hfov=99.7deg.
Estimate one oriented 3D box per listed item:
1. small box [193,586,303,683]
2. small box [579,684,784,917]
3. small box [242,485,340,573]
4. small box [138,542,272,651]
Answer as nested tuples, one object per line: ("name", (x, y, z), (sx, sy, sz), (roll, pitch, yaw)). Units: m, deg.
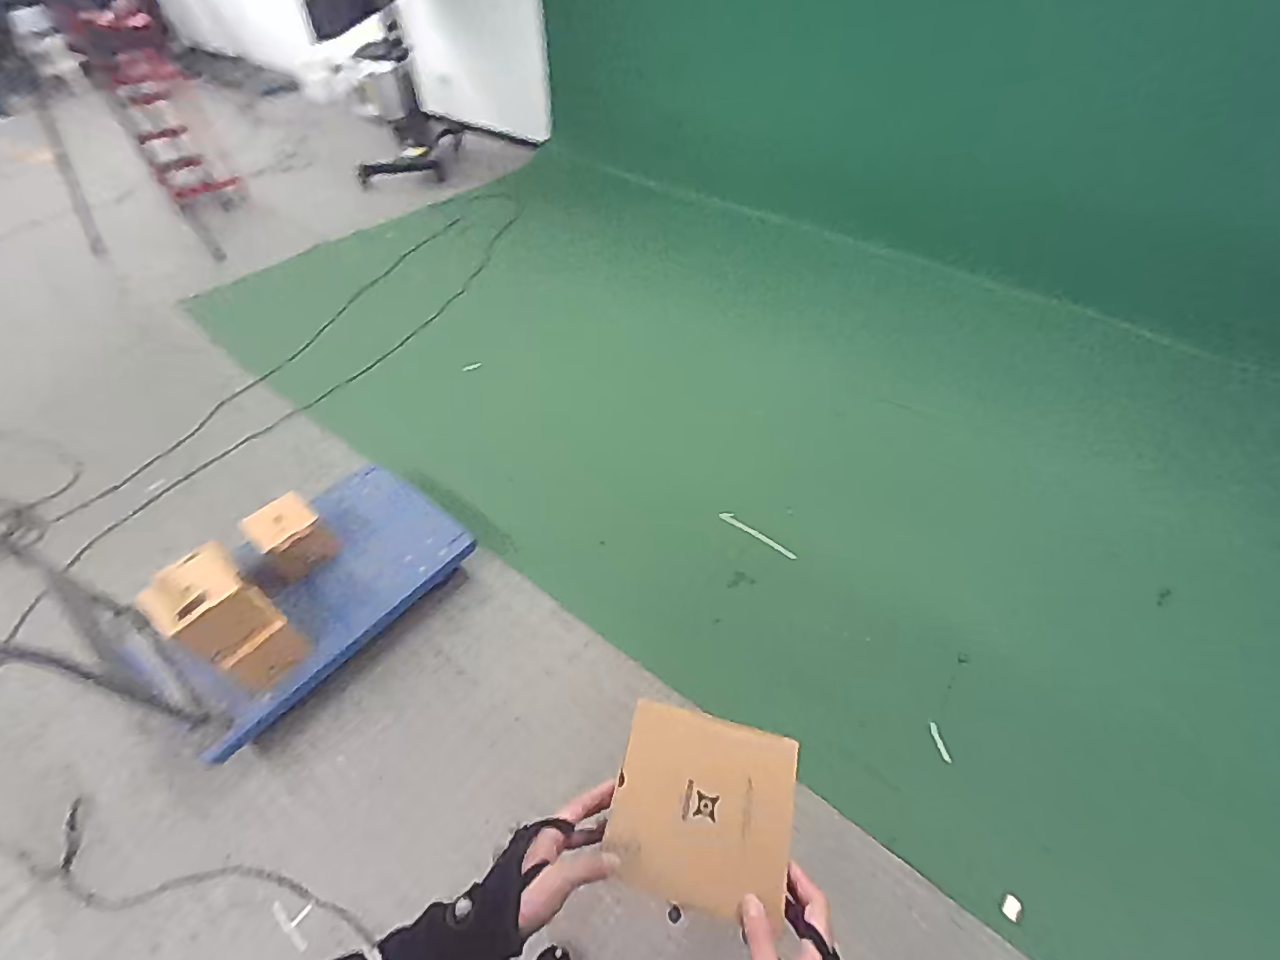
("small box", (-1.036, 0.416, 1.444), (0.179, 0.176, 0.168), (-16, 53, -14))
("small box", (0.045, 0.350, 0.596), (0.179, 0.176, 0.168), (13, 56, 7))
("small box", (-1.067, 0.153, 1.663), (0.179, 0.176, 0.168), (35, 57, 26))
("small box", (-1.053, 0.291, 1.324), (0.179, 0.176, 0.168), (31, 55, 25))
